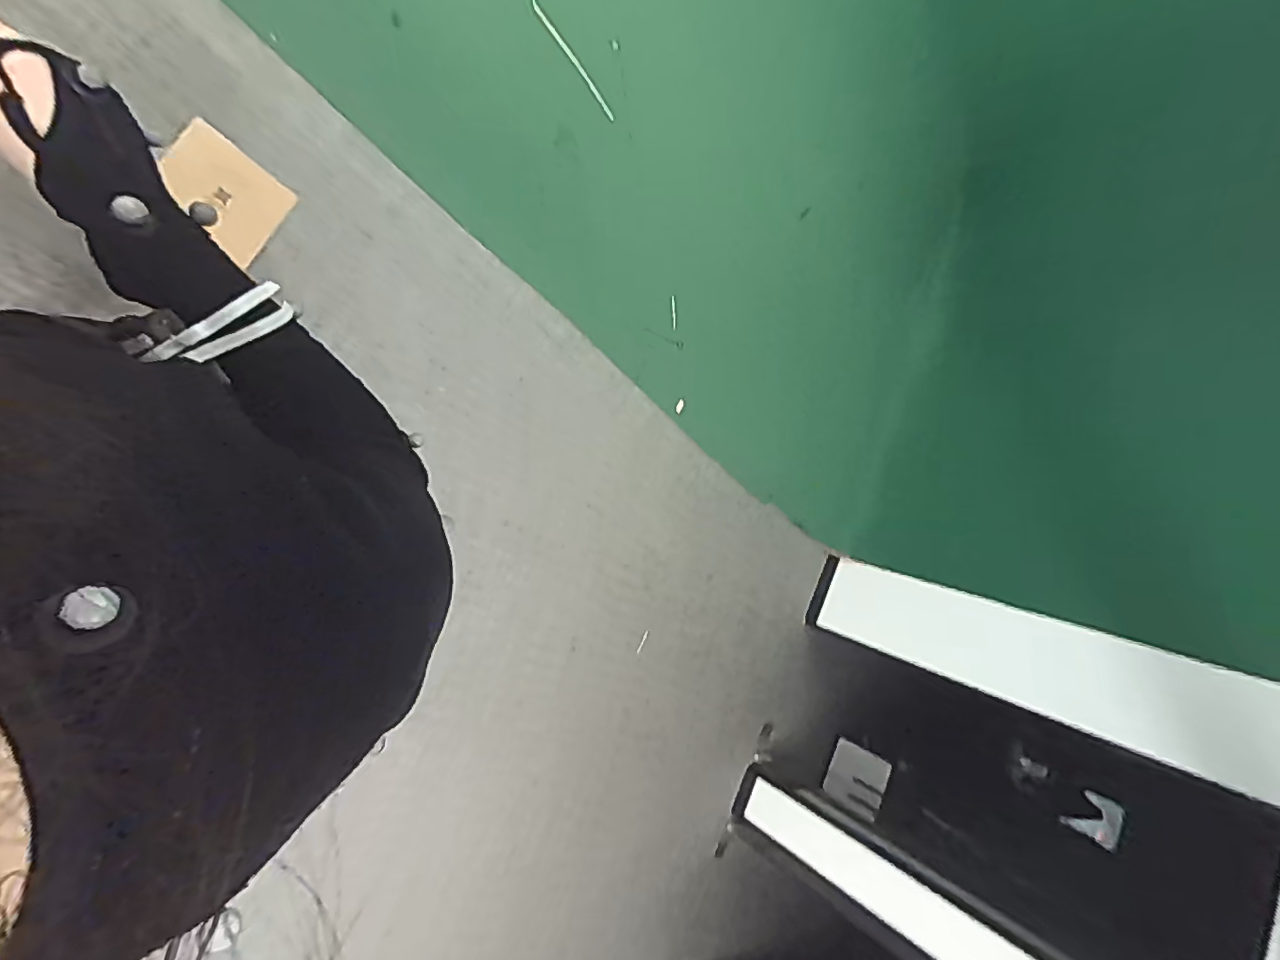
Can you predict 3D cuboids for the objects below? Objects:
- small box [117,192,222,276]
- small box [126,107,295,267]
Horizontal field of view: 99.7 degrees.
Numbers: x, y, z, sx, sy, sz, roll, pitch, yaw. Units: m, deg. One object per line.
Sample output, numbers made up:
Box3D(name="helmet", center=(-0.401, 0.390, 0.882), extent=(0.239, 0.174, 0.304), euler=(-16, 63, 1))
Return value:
Box3D(name="small box", center=(-0.876, -0.526, 1.066), extent=(0.168, 0.176, 0.179), euler=(42, 71, -43))
Box3D(name="small box", center=(-0.758, -0.501, 0.955), extent=(0.168, 0.176, 0.179), euler=(39, 73, -45))
